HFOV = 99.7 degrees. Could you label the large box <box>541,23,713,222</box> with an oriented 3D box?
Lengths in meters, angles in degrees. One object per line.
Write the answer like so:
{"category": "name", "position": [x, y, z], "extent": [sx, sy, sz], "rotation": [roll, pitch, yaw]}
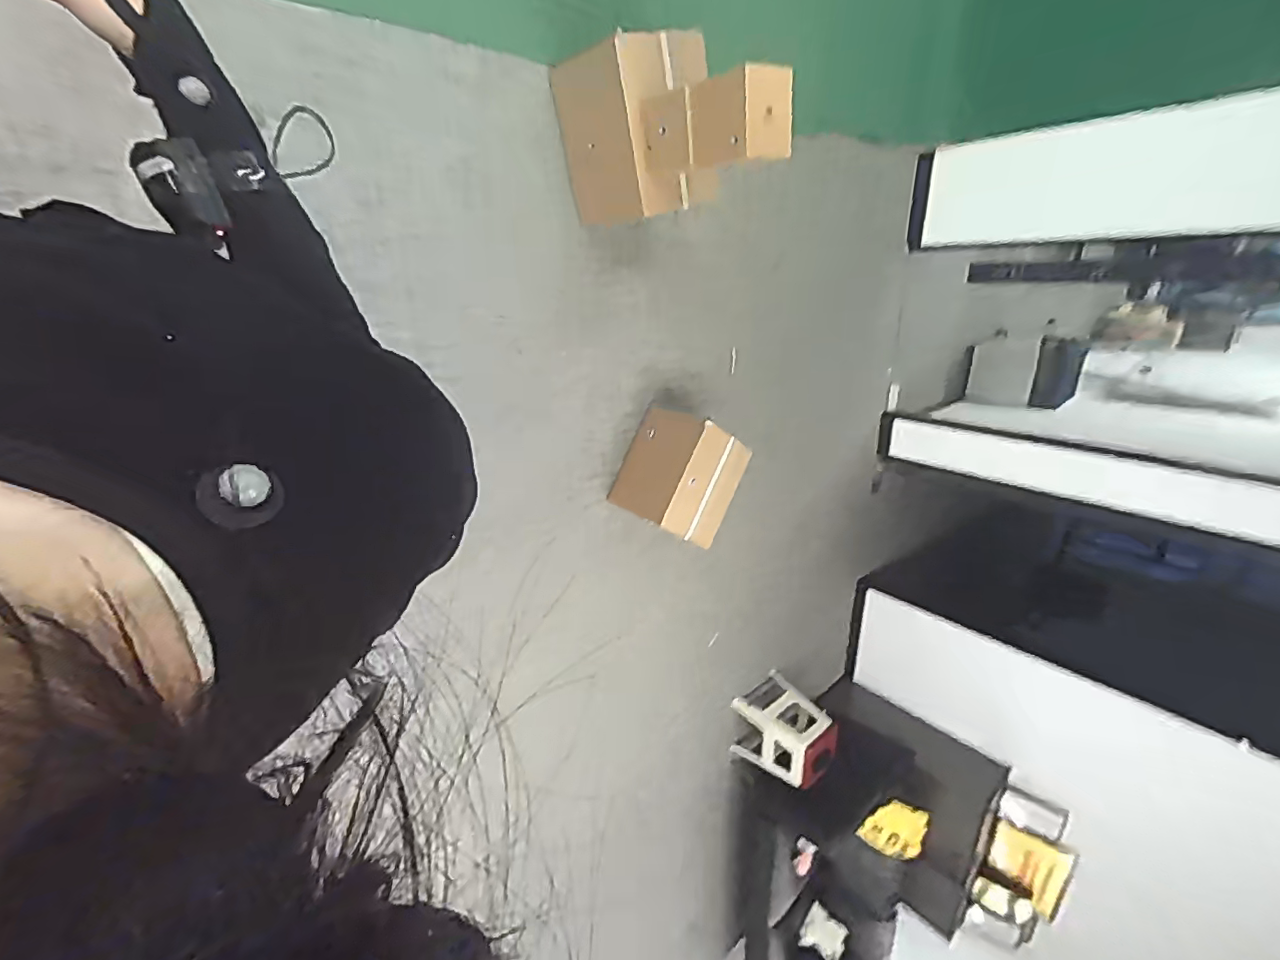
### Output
{"category": "large box", "position": [-0.029, -0.998, 1.544], "extent": [0.320, 0.320, 0.408], "rotation": [-33, 124, -31]}

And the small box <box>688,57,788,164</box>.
{"category": "small box", "position": [0.226, -0.850, 1.259], "extent": [0.168, 0.176, 0.179], "rotation": [-25, 122, -34]}

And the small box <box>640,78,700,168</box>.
{"category": "small box", "position": [0.114, -0.896, 1.367], "extent": [0.179, 0.176, 0.168], "rotation": [-26, 123, -33]}
